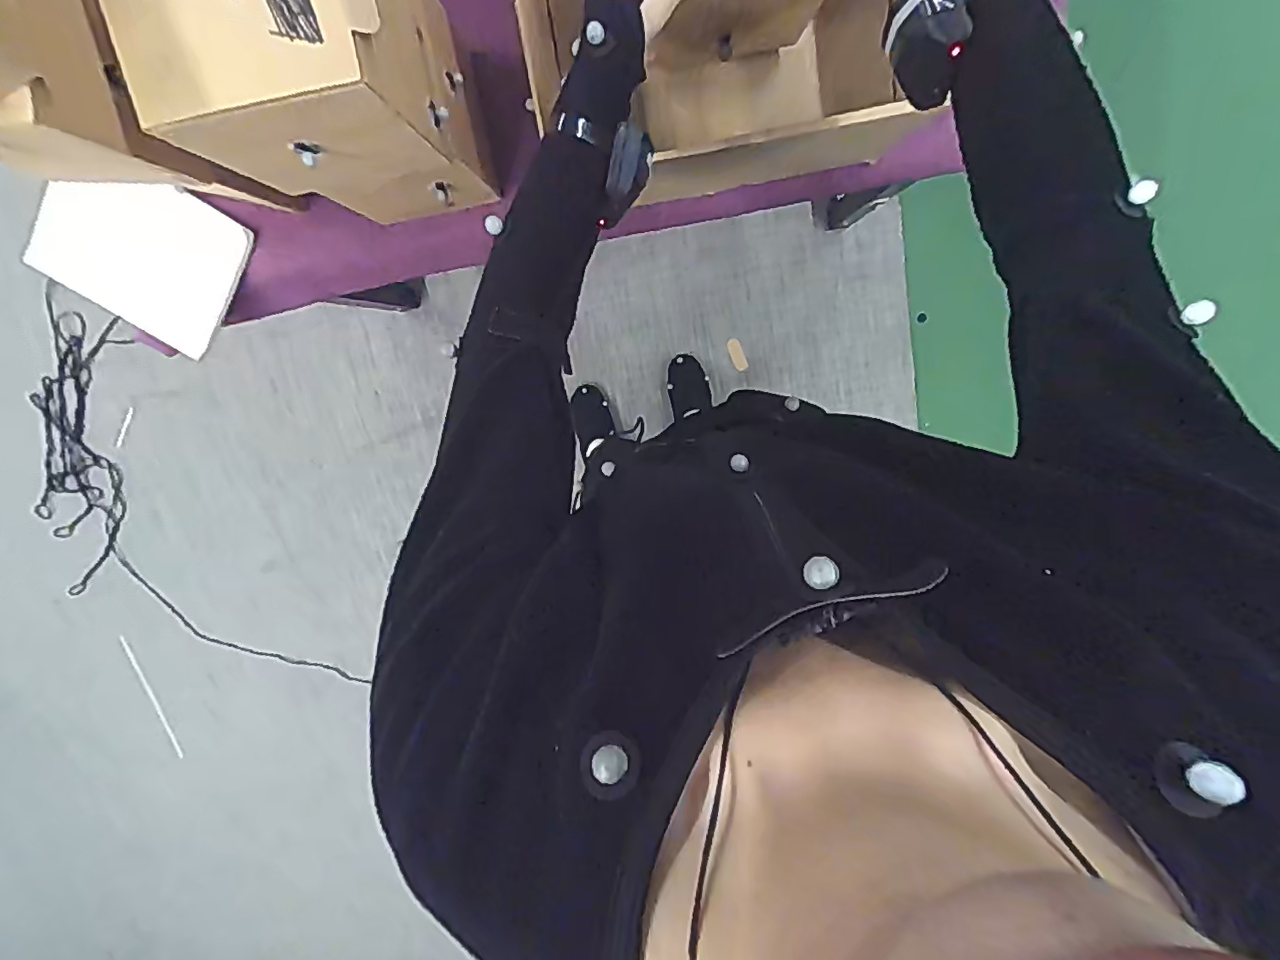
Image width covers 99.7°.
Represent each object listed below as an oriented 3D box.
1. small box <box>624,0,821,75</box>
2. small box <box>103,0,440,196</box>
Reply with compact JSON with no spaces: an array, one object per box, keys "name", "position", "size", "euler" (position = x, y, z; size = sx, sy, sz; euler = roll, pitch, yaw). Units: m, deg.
[{"name":"small box","position":[0.072,-0.503,0.486],"size":[0.179,0.176,0.168],"euler":[-8,106,1]},{"name":"small box","position":[-0.286,-0.361,0.451],"size":[0.179,0.176,0.168],"euler":[-9,101,4]}]
